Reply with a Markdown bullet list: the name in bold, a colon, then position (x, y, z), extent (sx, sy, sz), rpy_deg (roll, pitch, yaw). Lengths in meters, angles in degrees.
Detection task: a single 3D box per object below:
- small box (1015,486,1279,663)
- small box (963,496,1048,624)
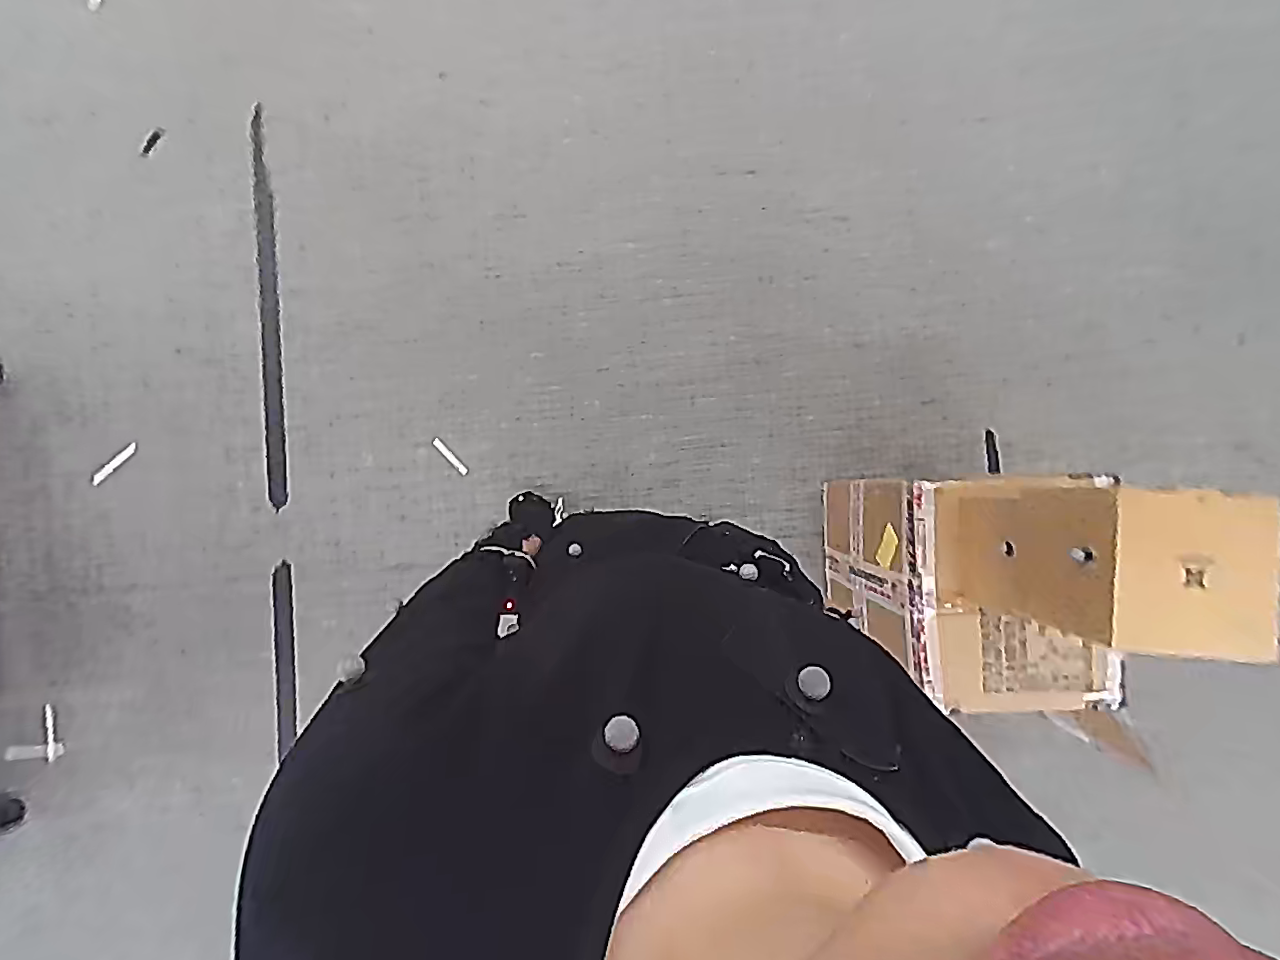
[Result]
- **small box**: position (0.587, 0.101, 0.650), extent (0.168, 0.176, 0.179), rpy_deg (4, 88, 3)
- **small box**: position (0.611, 0.110, 0.812), extent (0.168, 0.176, 0.179), rpy_deg (-1, 89, 3)
